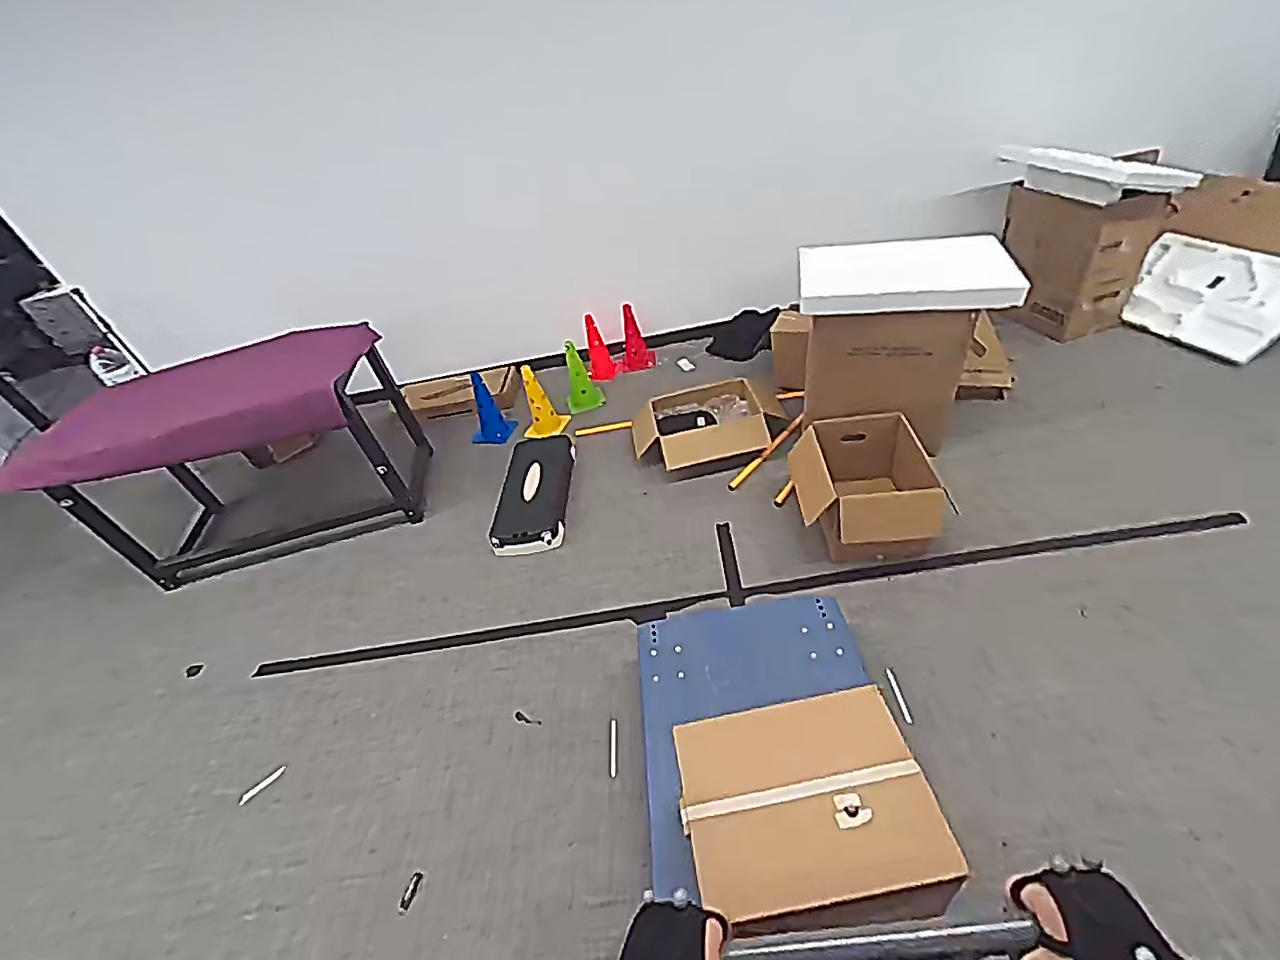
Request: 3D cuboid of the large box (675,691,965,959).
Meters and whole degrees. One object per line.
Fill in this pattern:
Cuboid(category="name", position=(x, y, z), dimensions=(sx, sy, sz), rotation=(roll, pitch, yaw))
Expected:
Cuboid(category="large box", position=(0.303, 0.656, 1.020), dimensions=(0.408, 0.320, 0.320), rotation=(-12, 40, 0))
